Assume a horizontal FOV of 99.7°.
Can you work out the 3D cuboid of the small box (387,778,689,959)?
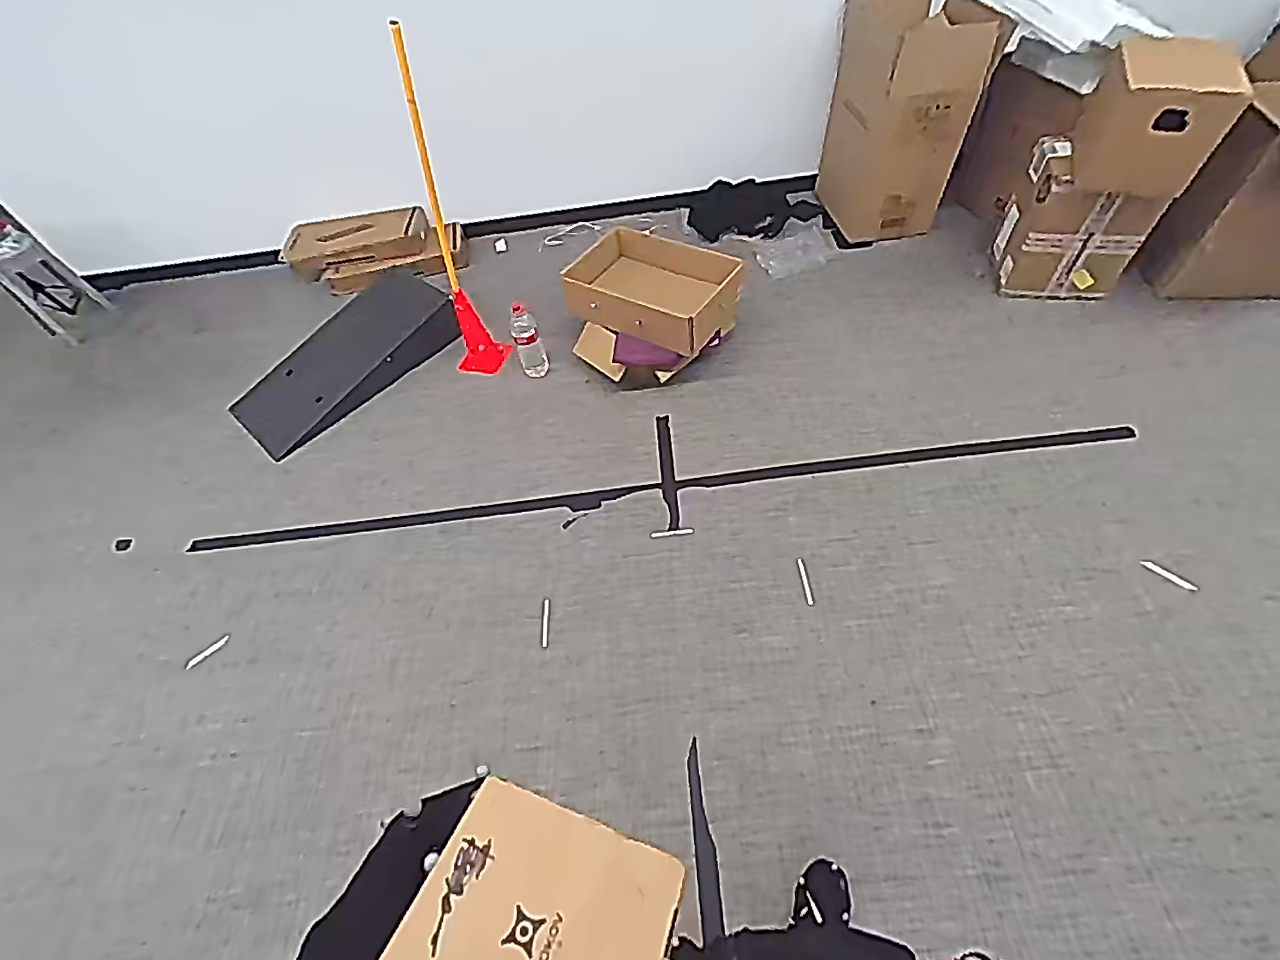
[{"bbox_3d":[-0.080,0.378,0.415,0.179,0.176,0.168,18,35,11],"label":"small box"}]
